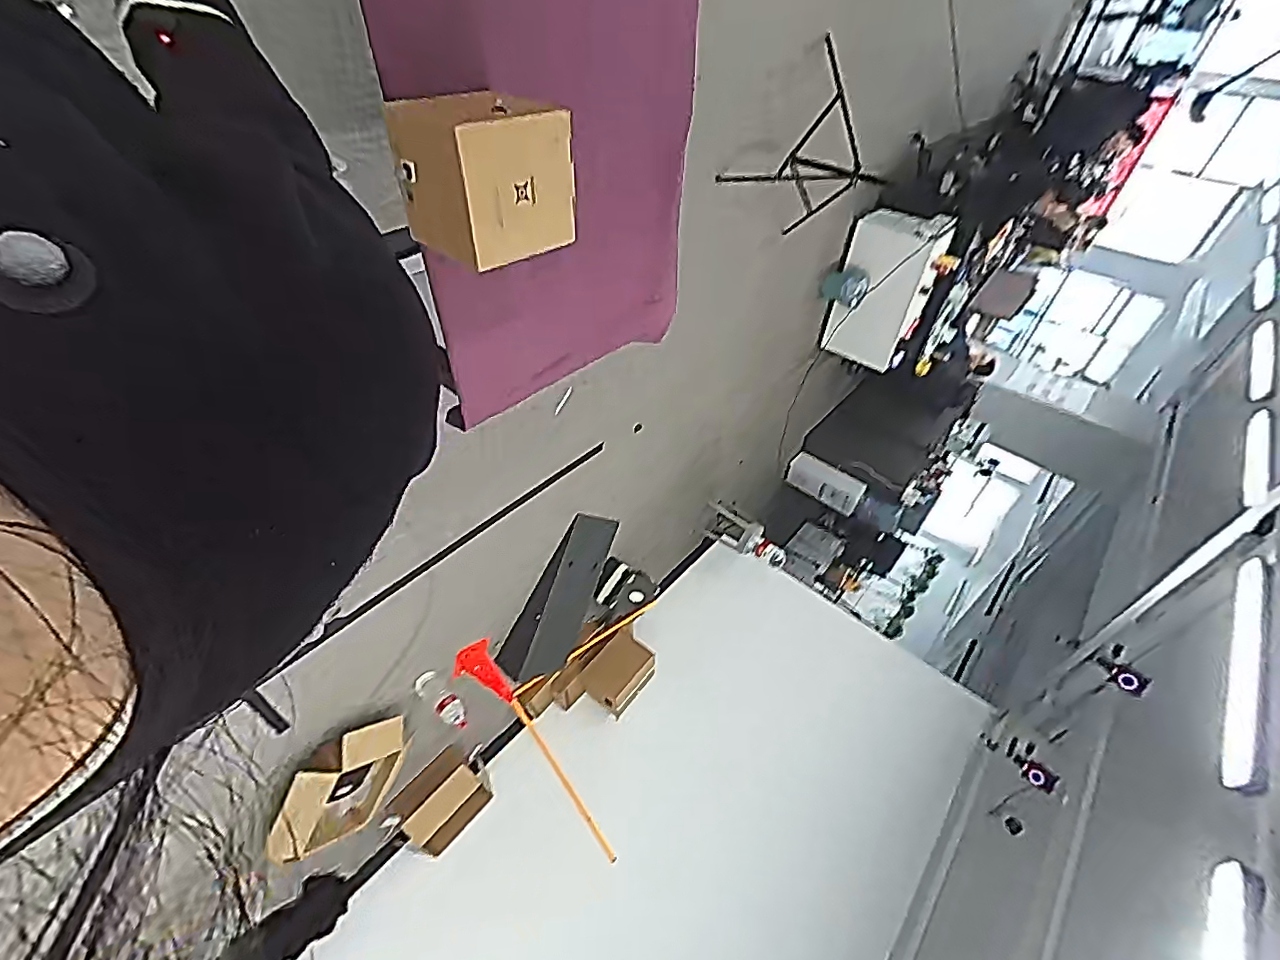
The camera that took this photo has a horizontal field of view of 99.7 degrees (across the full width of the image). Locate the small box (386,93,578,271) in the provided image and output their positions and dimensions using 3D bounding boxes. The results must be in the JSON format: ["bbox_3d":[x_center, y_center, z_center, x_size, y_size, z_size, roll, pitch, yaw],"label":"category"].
[{"bbox_3d":[-0.206,-0.412,0.736,0.179,0.176,0.168,-36,145,-33],"label":"small box"}]
